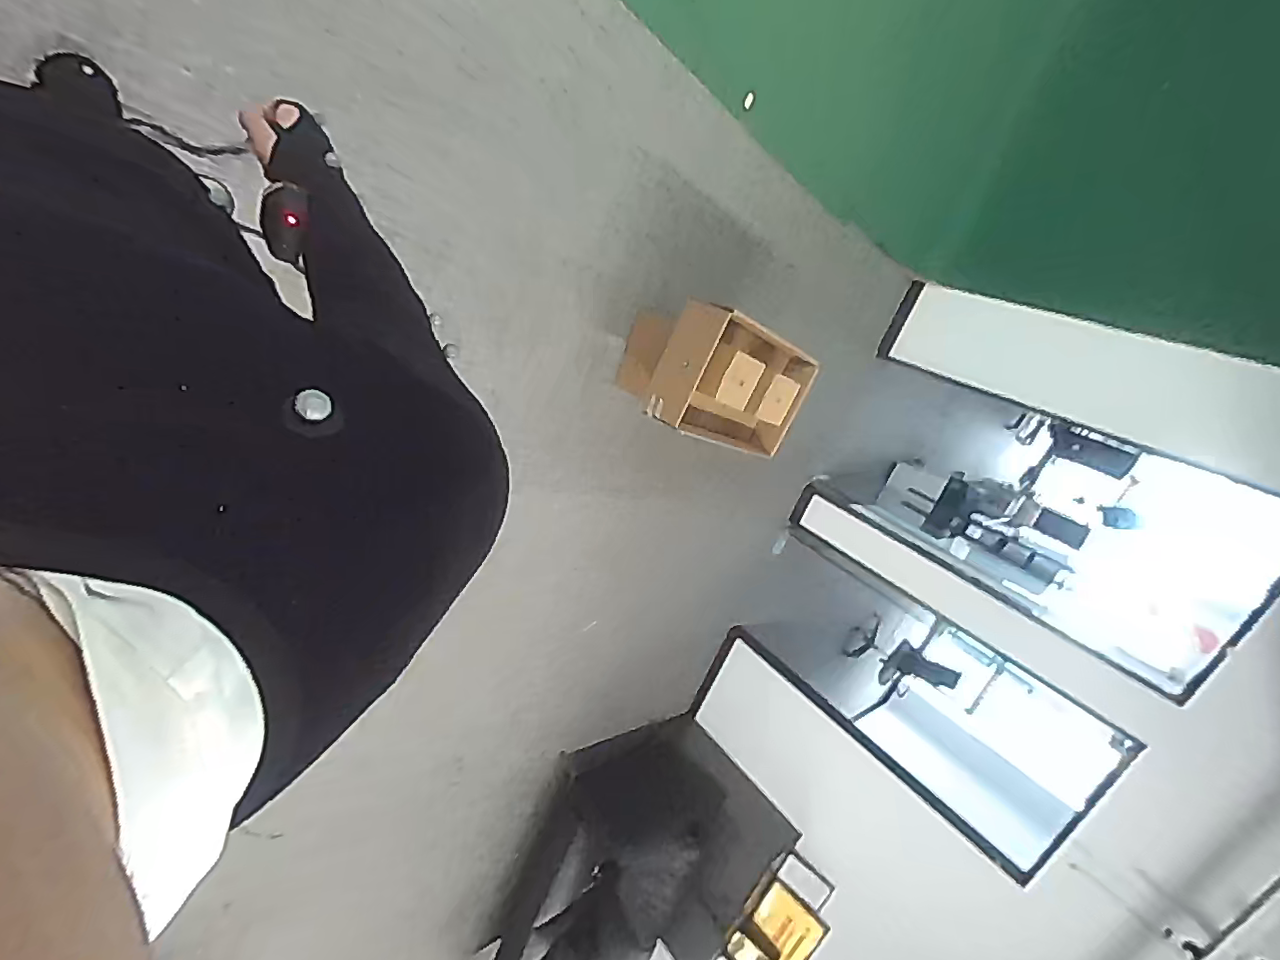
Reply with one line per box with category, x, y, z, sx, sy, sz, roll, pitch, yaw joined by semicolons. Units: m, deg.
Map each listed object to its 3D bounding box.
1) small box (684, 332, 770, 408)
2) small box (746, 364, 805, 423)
small box;0.275;-0.353;1.729;0.179;0.176;0.168;10;111;-48
small box;0.443;-0.324;1.919;0.179;0.176;0.168;9;113;-45
